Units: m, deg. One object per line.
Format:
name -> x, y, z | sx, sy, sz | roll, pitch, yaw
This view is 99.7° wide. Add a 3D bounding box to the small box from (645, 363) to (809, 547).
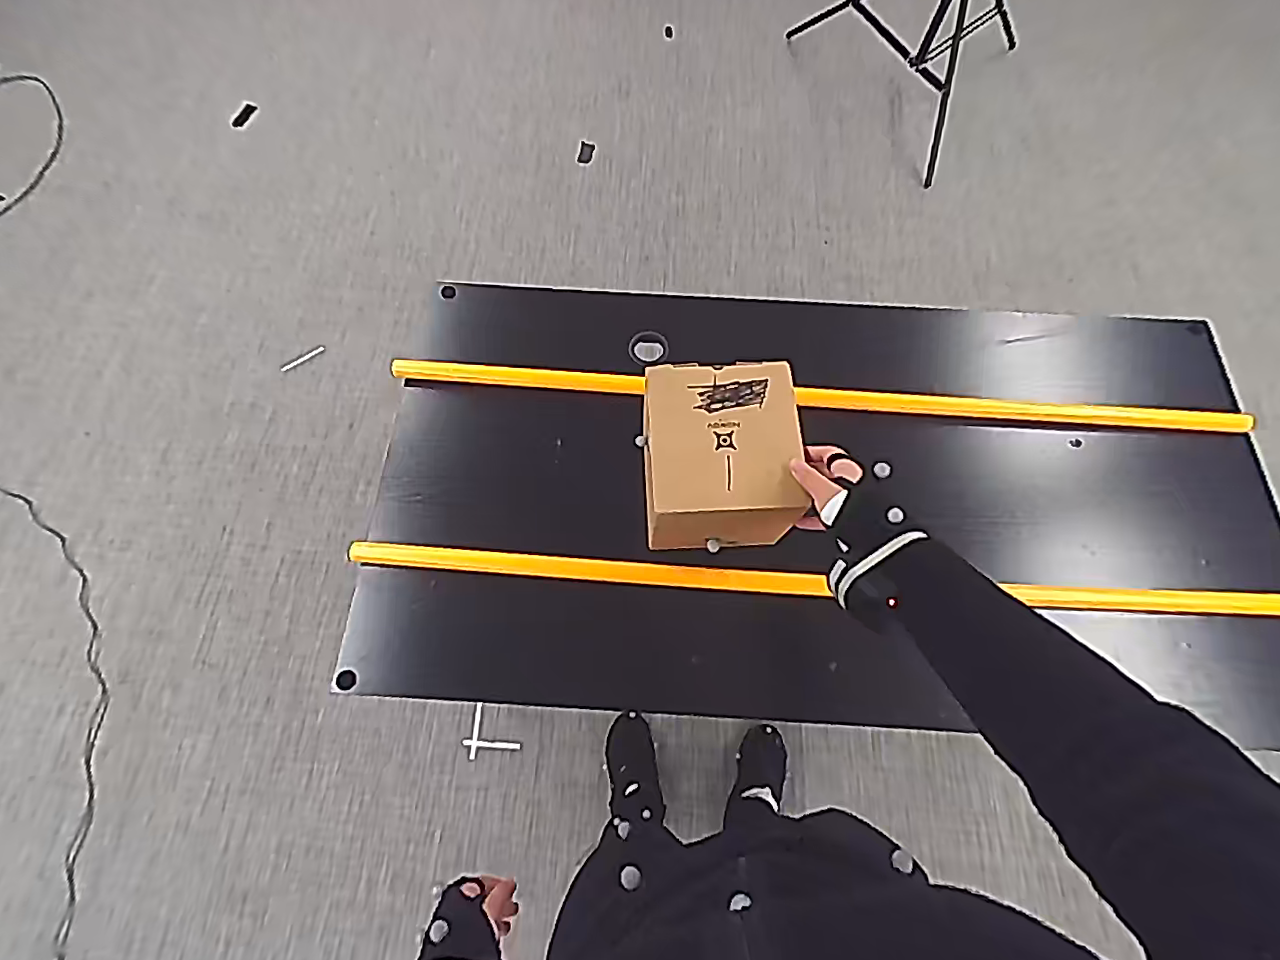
small box -> 0.092, -0.024, 0.666 | 0.168, 0.176, 0.179 | -2, 70, -1
